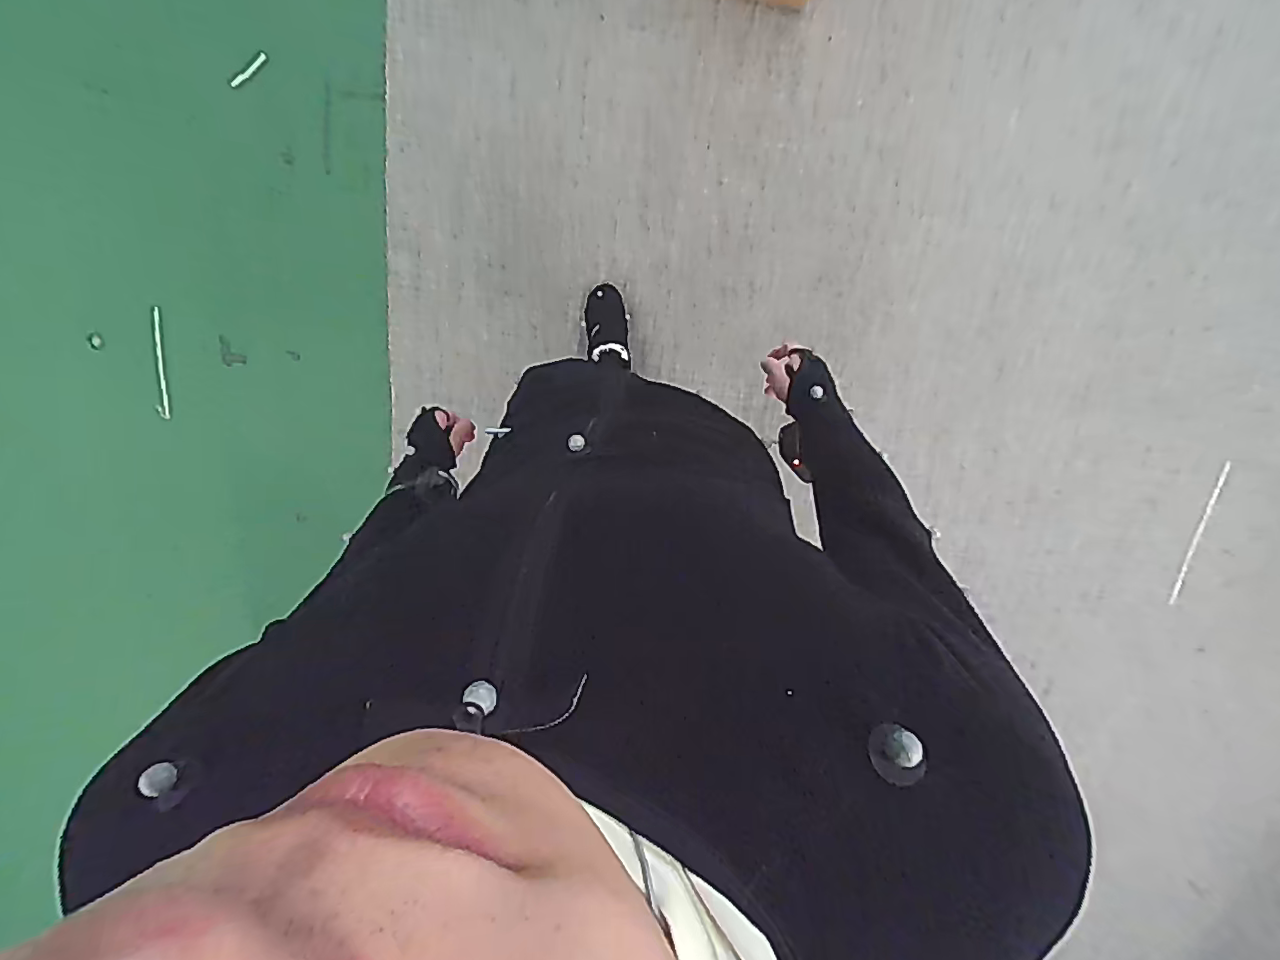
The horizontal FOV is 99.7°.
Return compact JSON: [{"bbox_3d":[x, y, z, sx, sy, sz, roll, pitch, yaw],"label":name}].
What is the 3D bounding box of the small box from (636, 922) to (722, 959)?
[{"bbox_3d":[0.076,1.040,1.094,0.179,0.176,0.168,2,106,0],"label":"small box"}]
